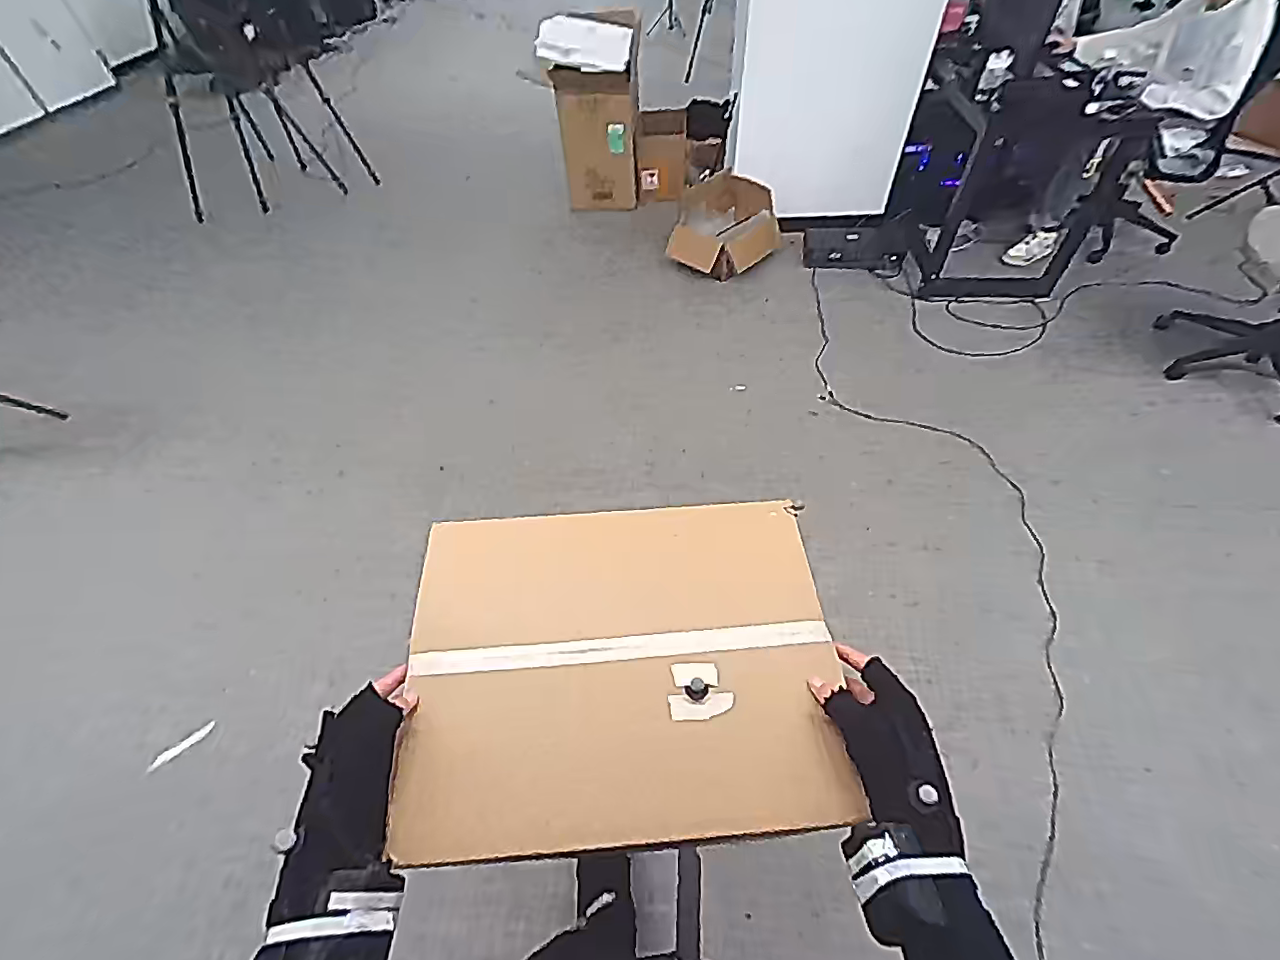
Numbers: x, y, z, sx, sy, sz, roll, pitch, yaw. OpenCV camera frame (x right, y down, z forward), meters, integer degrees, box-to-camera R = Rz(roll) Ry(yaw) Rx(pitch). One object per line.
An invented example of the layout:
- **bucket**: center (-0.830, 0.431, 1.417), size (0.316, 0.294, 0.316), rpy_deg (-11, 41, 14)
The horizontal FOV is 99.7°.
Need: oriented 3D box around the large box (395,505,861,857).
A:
- **large box**: center (-0.019, 0.251, 0.658), size (0.408, 0.320, 0.320), rpy_deg (-3, 55, -2)
